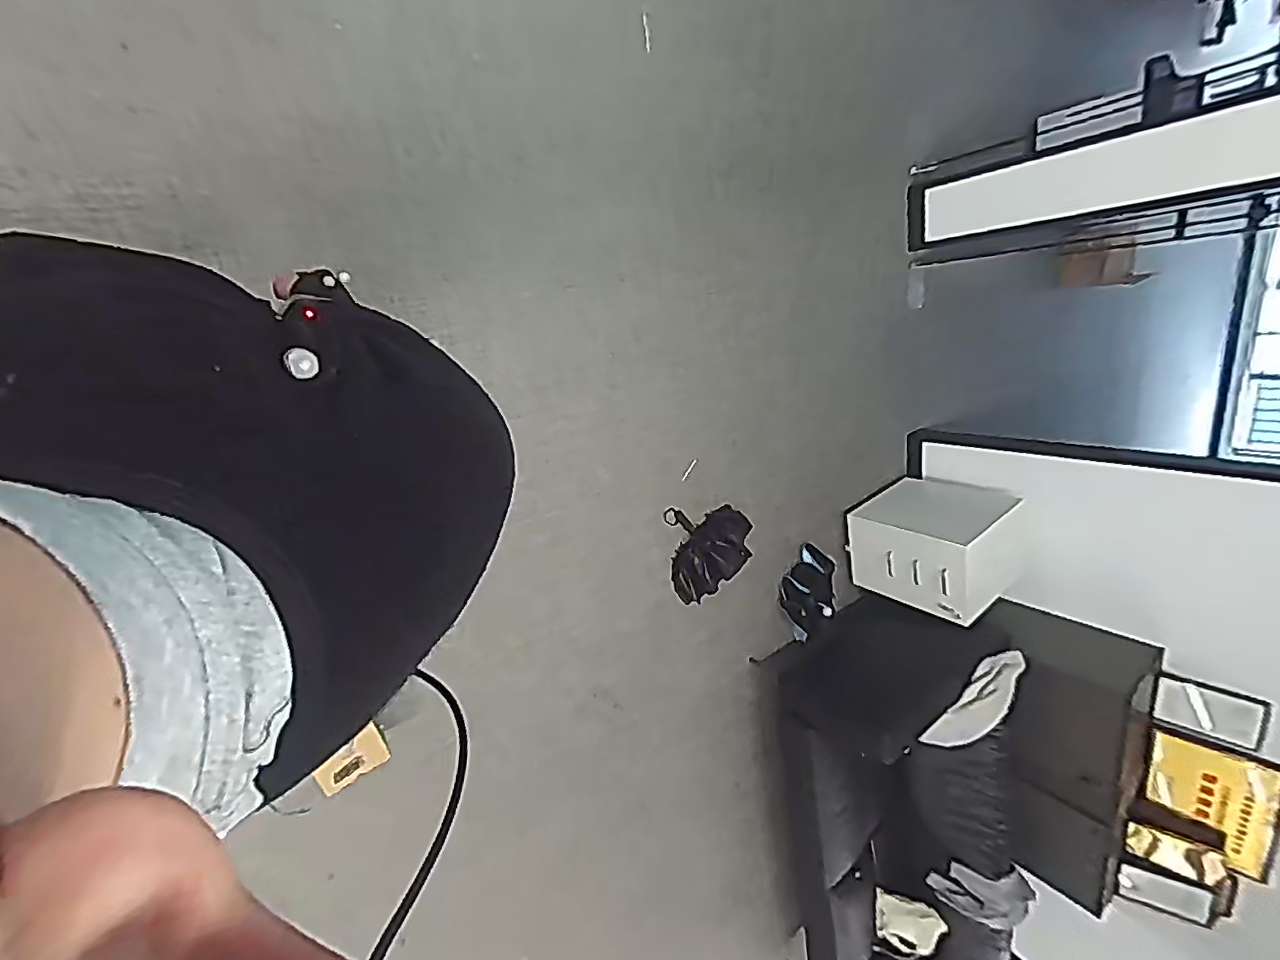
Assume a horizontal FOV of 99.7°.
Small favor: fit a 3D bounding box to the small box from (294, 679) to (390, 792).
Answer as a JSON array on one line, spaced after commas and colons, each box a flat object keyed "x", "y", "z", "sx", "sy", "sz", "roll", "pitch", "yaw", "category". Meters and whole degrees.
[{"x": -0.796, "y": 0.673, "z": 1.442, "sx": 0.168, "sy": 0.176, "sz": 0.179, "roll": -28, "pitch": 114, "yaw": -29, "category": "small box"}]
